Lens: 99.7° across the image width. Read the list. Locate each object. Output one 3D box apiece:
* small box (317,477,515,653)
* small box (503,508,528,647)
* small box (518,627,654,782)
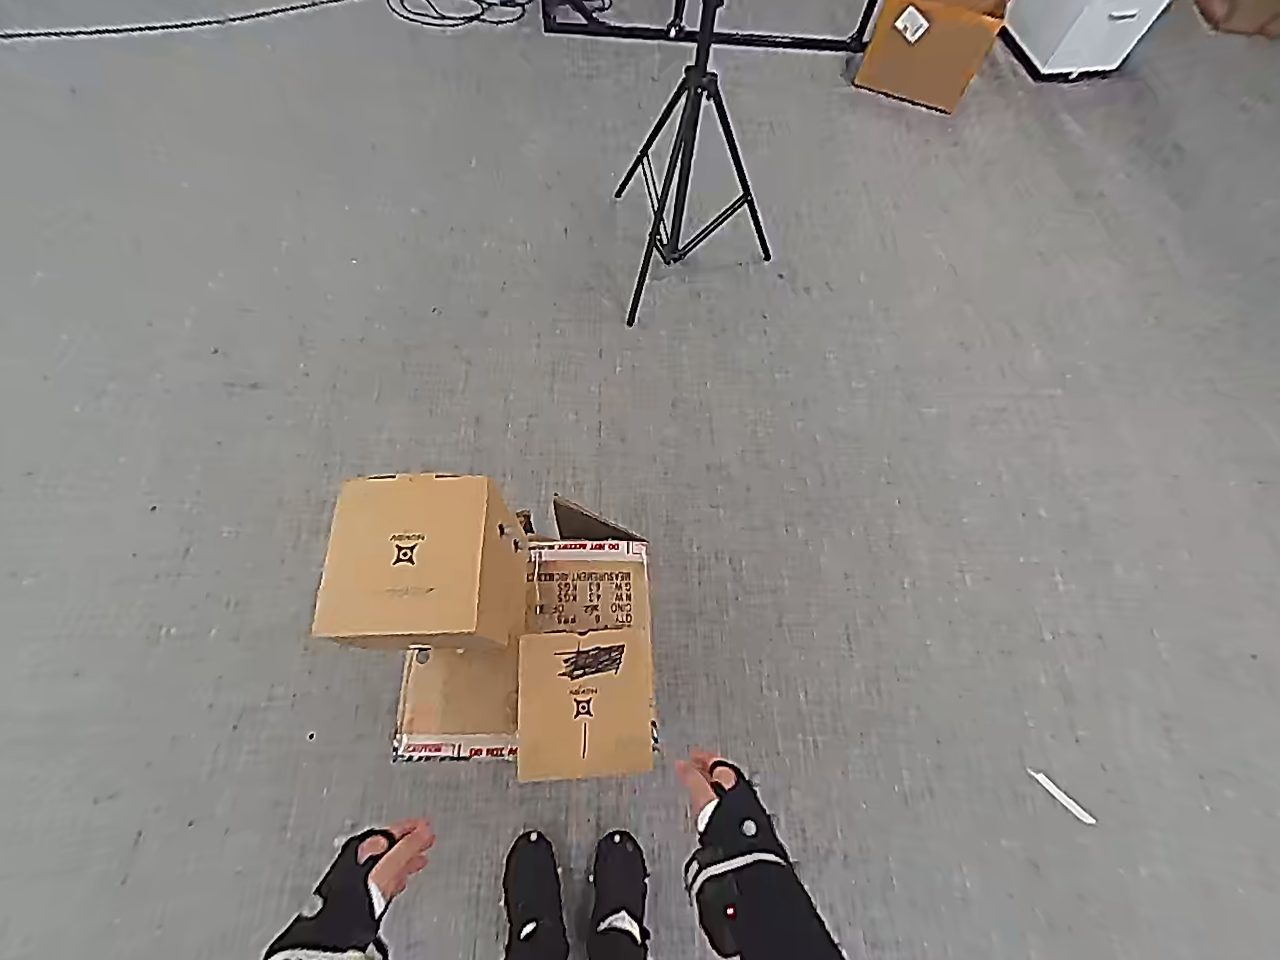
[{"bbox_3d":[-0.249,0.108,0.650,0.168,0.176,0.179,-2,68,-2],"label":"small box"},{"bbox_3d":[-0.263,0.151,0.808,0.168,0.176,0.179,-1,68,-3],"label":"small box"},{"bbox_3d":[-0.075,0.309,0.754,0.168,0.176,0.179,-2,68,-5],"label":"small box"}]
